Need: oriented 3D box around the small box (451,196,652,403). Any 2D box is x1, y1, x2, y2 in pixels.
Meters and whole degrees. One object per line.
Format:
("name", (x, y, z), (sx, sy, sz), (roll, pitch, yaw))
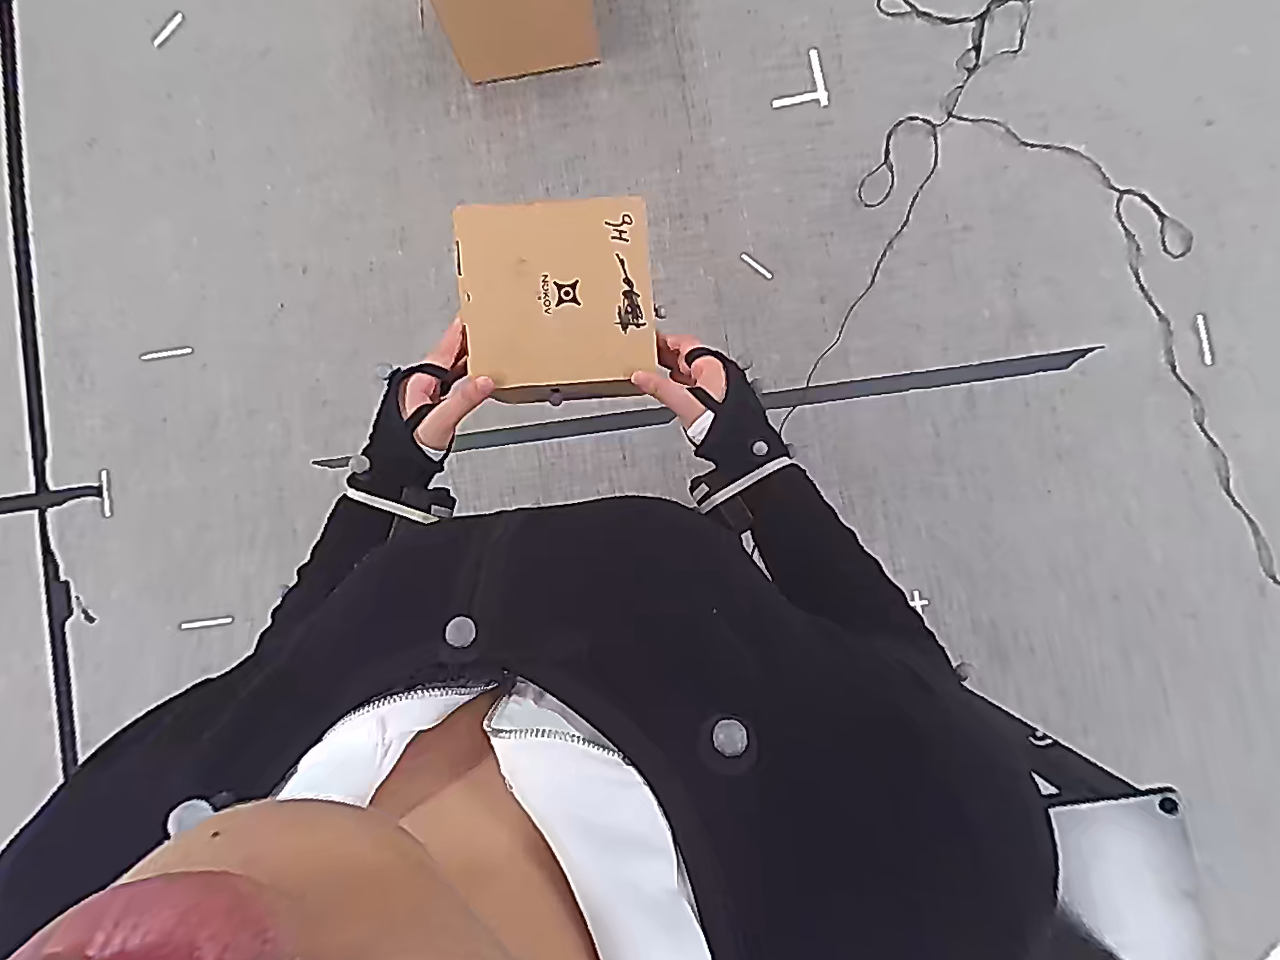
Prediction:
("small box", (-0.082, -0.176, 0.573), (0.179, 0.176, 0.168), (-5, 93, -2))
